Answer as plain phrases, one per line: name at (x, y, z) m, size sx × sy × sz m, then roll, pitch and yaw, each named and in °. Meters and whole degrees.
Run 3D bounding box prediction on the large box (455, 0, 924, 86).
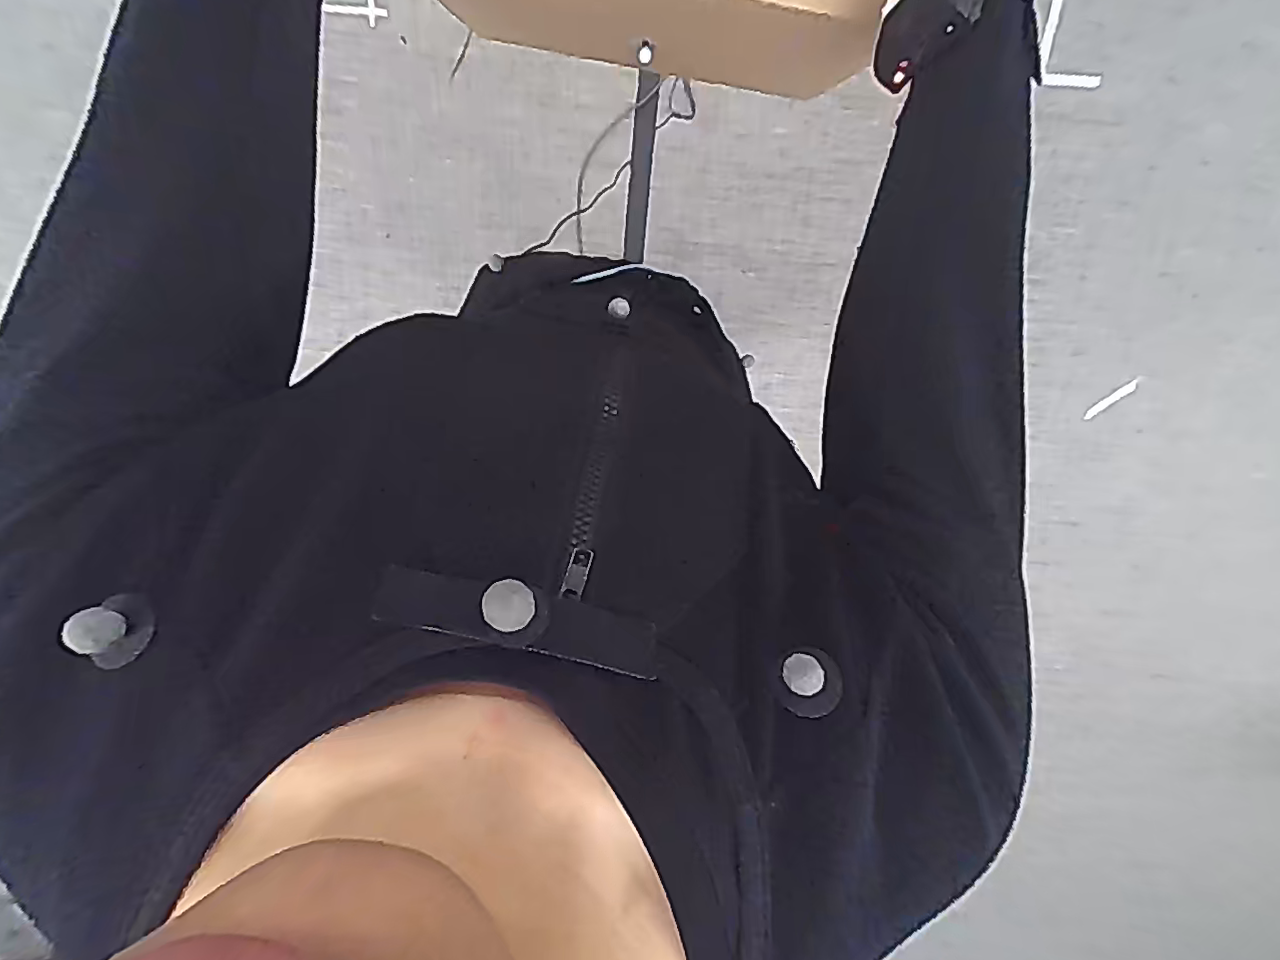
large box at (0.032, -0.558, 0.442) m, size 0.408 × 0.320 × 0.320 m, roll 9°, pitch 117°, yaw -2°
